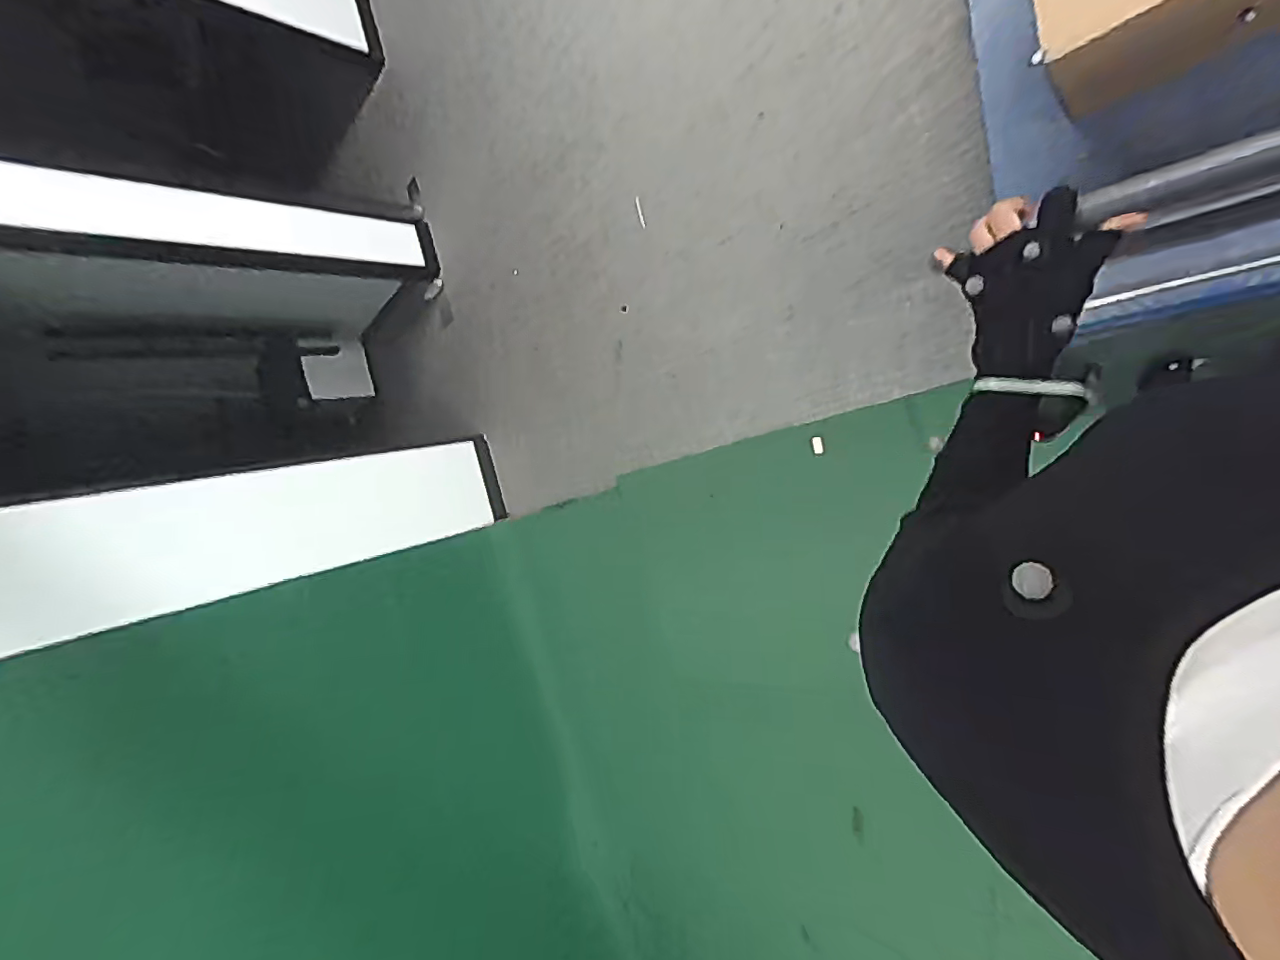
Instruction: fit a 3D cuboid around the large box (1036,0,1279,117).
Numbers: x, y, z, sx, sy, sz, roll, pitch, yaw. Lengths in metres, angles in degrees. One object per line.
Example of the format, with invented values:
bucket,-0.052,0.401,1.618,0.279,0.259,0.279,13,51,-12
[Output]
large box,0.785,-0.787,0.717,0.408,0.320,0.320,-10,93,46
